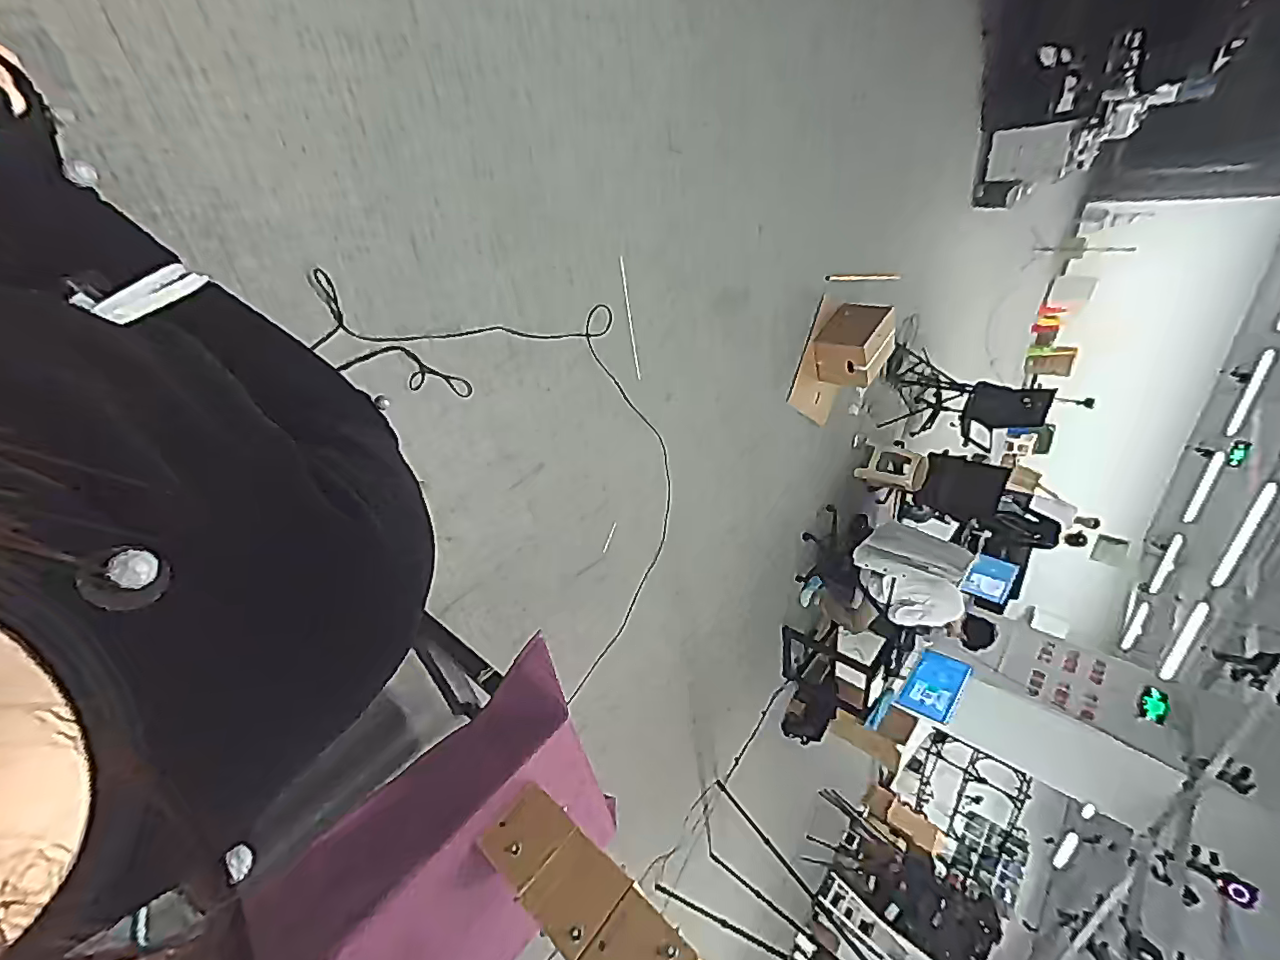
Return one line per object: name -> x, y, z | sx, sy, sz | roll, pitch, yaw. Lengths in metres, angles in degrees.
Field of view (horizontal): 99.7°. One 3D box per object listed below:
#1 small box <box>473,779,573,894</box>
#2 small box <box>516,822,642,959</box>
small box -> -0.248, 0.820, 1.223 | 0.168, 0.176, 0.179 | -38, 133, -32
small box -> -0.125, 0.864, 1.127 | 0.179, 0.176, 0.168 | -40, 133, -31
